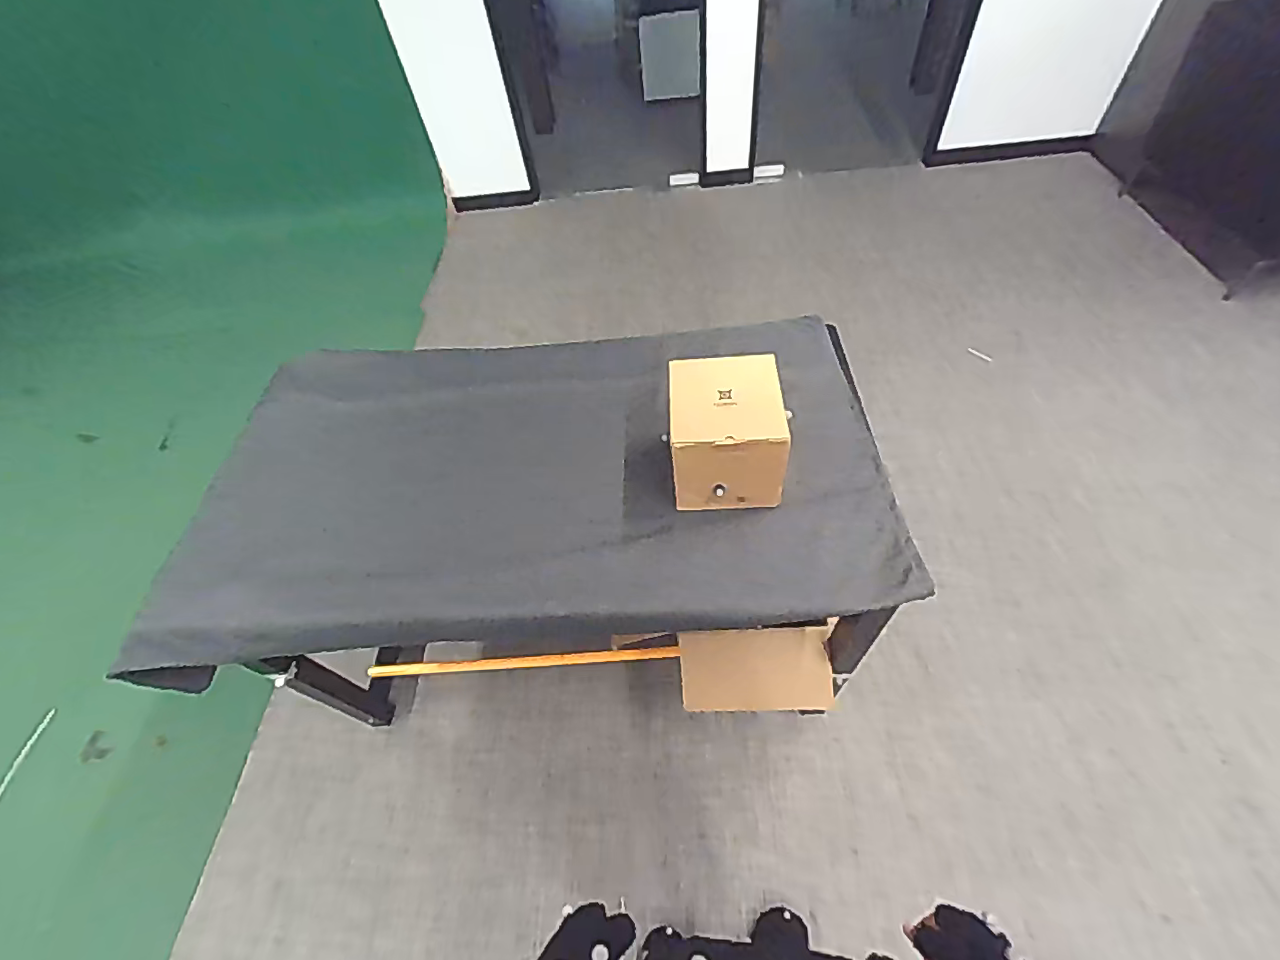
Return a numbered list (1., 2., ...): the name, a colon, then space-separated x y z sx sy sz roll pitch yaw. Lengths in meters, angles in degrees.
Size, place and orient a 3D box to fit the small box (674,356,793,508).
1. small box: 0.137 -0.073 0.857 0.168 0.176 0.179 -2 54 5
